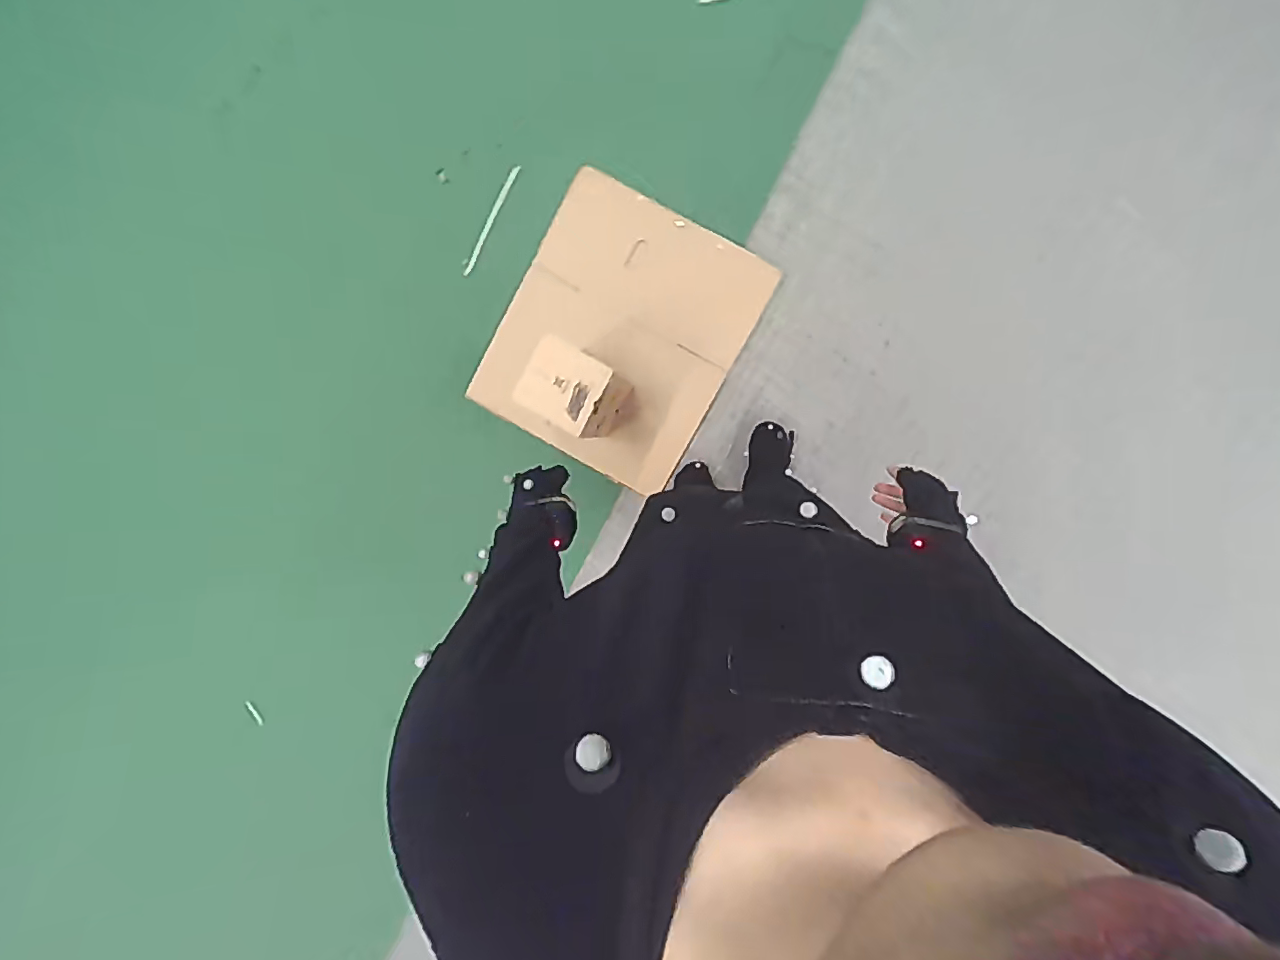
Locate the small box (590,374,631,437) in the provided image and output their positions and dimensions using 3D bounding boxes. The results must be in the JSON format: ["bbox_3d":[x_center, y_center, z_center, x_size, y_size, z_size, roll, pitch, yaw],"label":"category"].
[{"bbox_3d":[-0.139,-0.219,1.380,0.179,0.176,0.168,28,97,2],"label":"small box"}]

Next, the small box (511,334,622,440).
[{"bbox_3d":[-0.155,-0.205,1.217,0.179,0.176,0.168,29,97,3],"label":"small box"}]
